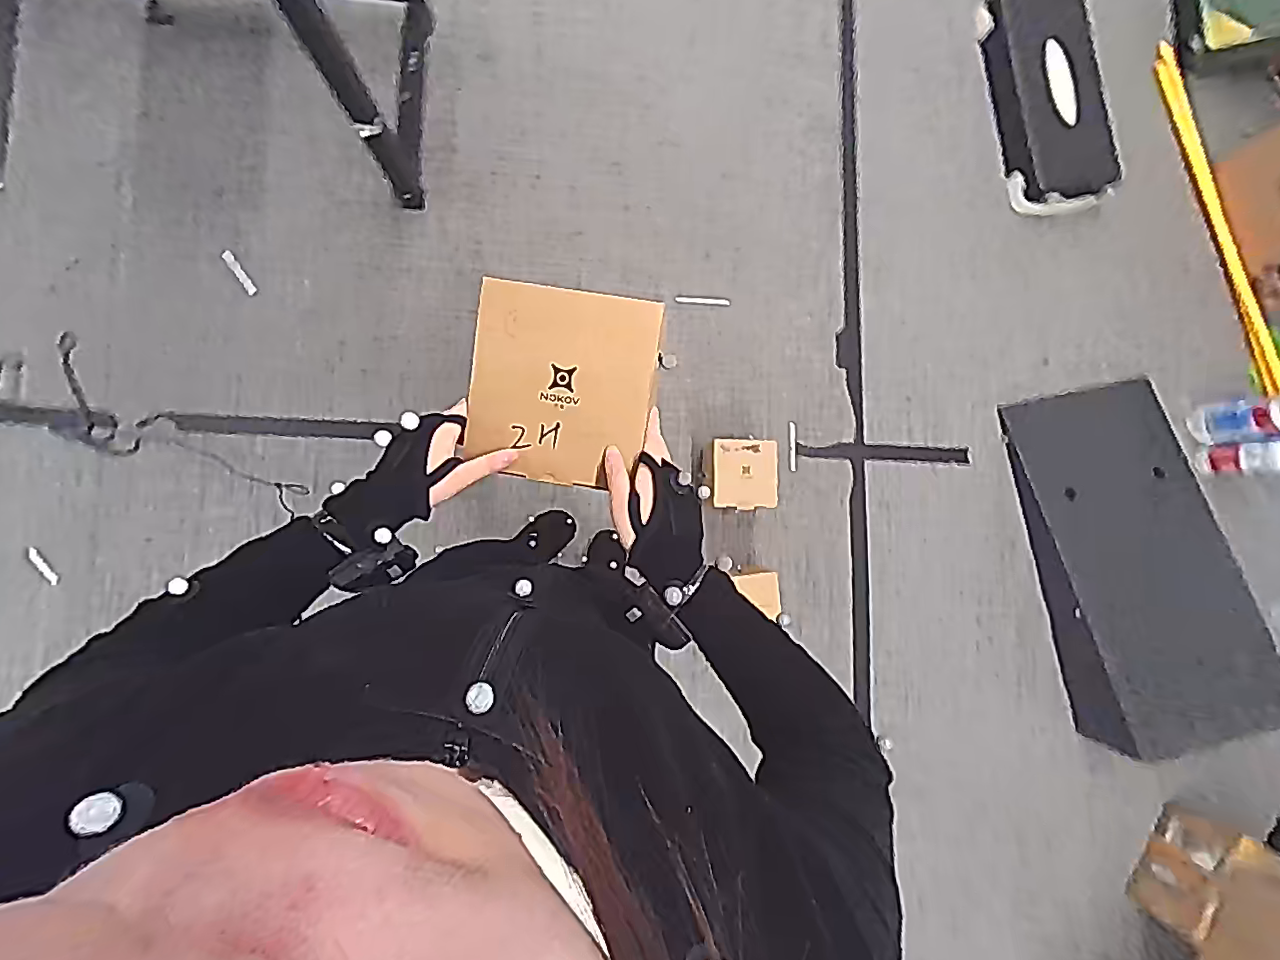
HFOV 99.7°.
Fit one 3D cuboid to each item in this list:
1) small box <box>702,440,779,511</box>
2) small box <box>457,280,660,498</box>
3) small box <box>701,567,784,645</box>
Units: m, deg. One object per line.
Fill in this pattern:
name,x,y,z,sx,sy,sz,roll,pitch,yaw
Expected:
small box,0.263,-0.010,1.442,0.168,0.176,0.179,2,88,-4
small box,-0.071,-0.088,0.555,0.168,0.176,0.179,7,98,2
small box,0.262,0.326,1.428,0.179,0.176,0.168,-5,88,-5
